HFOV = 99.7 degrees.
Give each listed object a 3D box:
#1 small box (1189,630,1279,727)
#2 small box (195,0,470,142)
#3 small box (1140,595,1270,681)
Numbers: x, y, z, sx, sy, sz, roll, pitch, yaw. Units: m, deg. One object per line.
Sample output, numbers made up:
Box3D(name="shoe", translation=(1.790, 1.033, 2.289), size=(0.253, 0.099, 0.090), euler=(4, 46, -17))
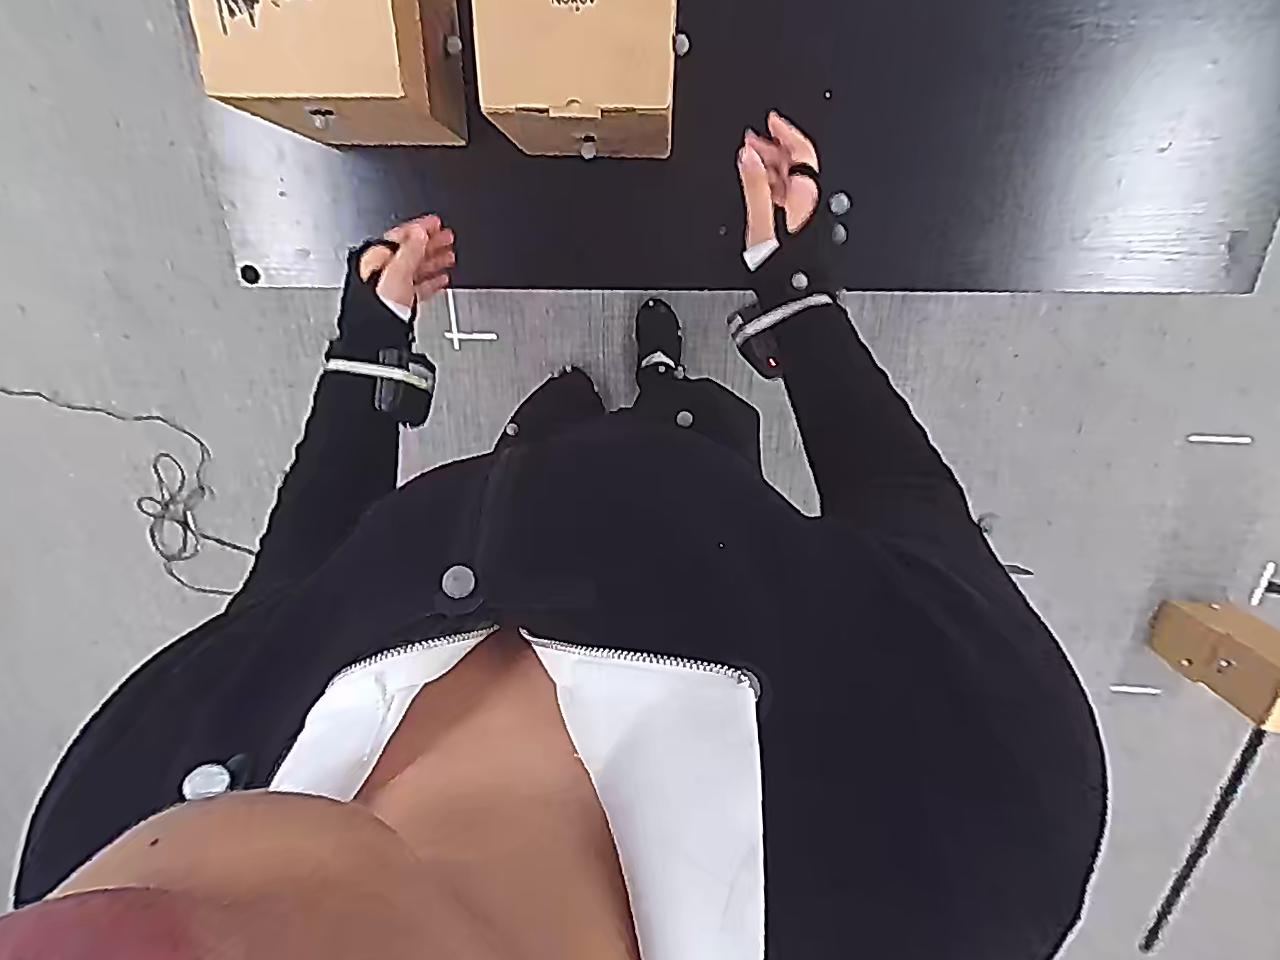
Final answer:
Box3D(name="small box", translation=(1.579, 0.499, 1.370), size=(0.179, 0.176, 0.168), euler=(3, 110, 3))
Box3D(name="small box", translation=(-0.281, -0.437, 0.517), size=(0.179, 0.176, 0.168), euler=(2, 110, 1))
Box3D(name="small box", translation=(1.576, 0.446, 1.525), size=(0.168, 0.176, 0.179), euler=(1, 111, 3))
